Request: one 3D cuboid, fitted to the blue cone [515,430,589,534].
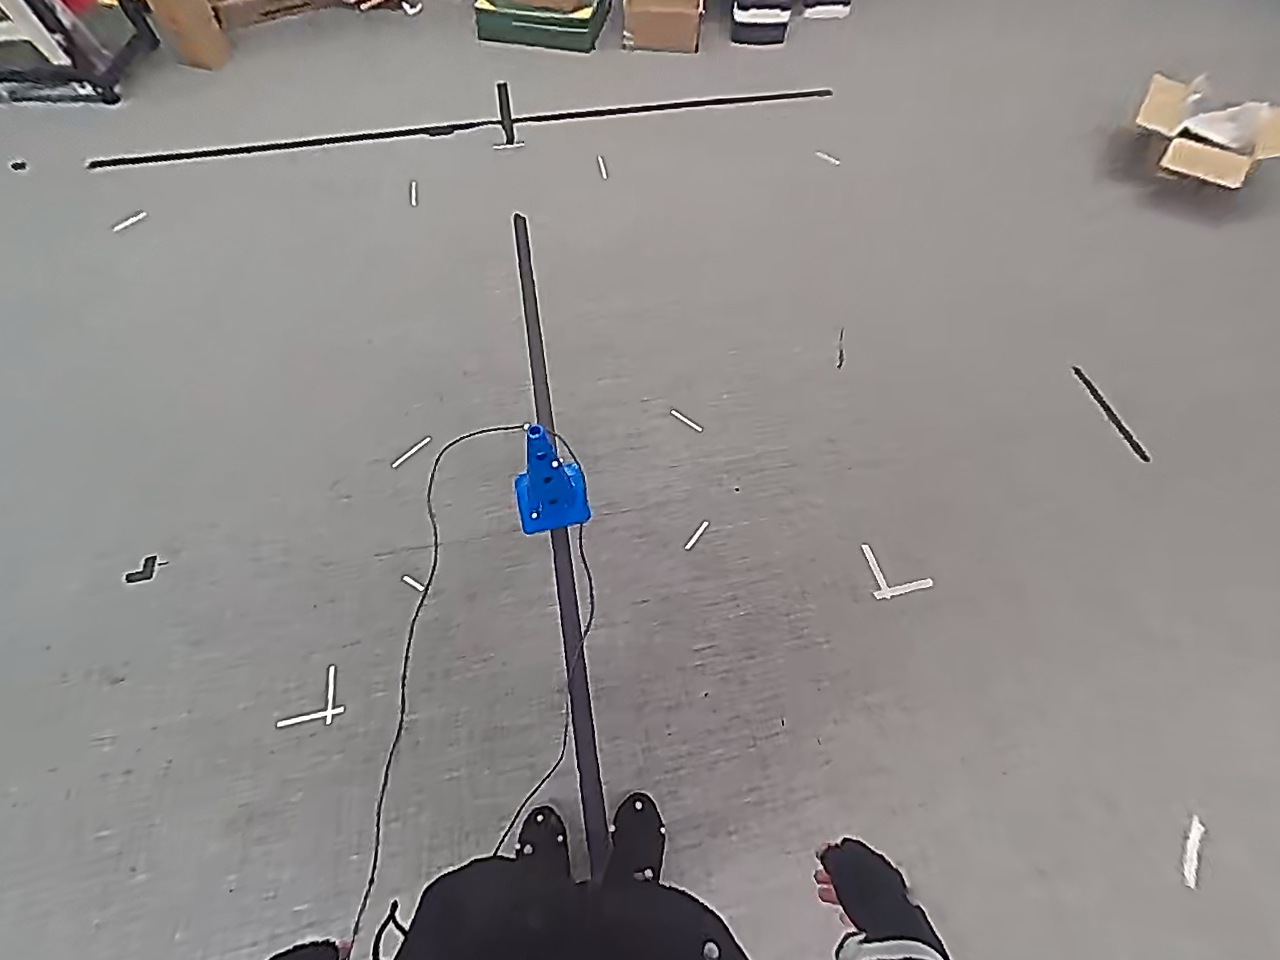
[{"bbox_3d":[-0.248,-0.022,1.425,0.192,0.380,0.193,-14,64,-9],"label":"blue cone"}]
